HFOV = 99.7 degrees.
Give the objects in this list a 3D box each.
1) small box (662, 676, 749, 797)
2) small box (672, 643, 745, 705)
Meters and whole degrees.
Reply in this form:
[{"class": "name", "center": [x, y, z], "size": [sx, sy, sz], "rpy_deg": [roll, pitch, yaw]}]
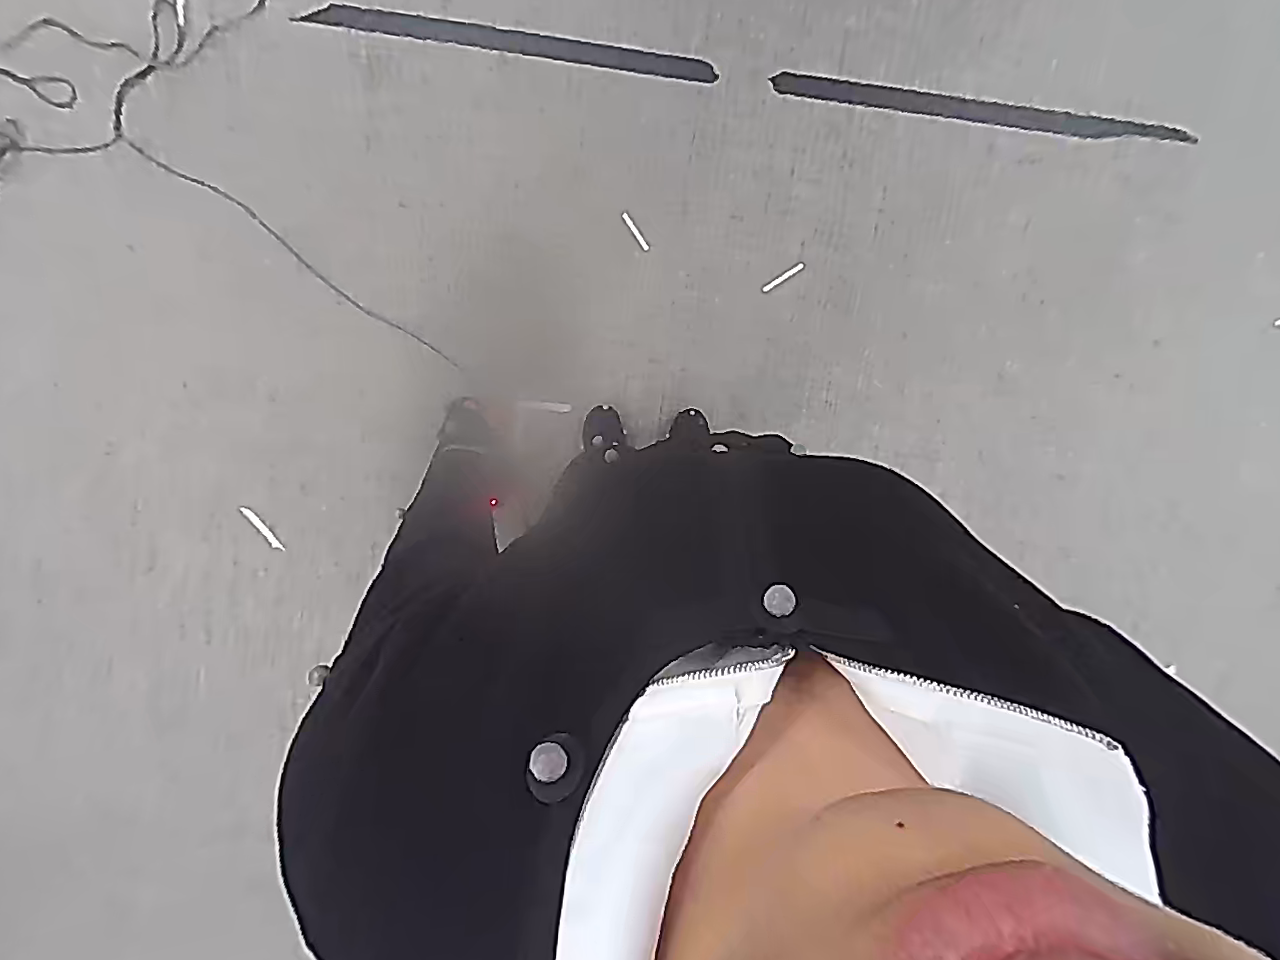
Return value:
[{"class": "small box", "center": [0.144, 0.583, 1.244], "size": [0.168, 0.176, 0.179], "rpy_deg": [7, 101, 0]}, {"class": "small box", "center": [0.169, 0.549, 1.405], "size": [0.168, 0.176, 0.179], "rpy_deg": [6, 100, 1]}]
